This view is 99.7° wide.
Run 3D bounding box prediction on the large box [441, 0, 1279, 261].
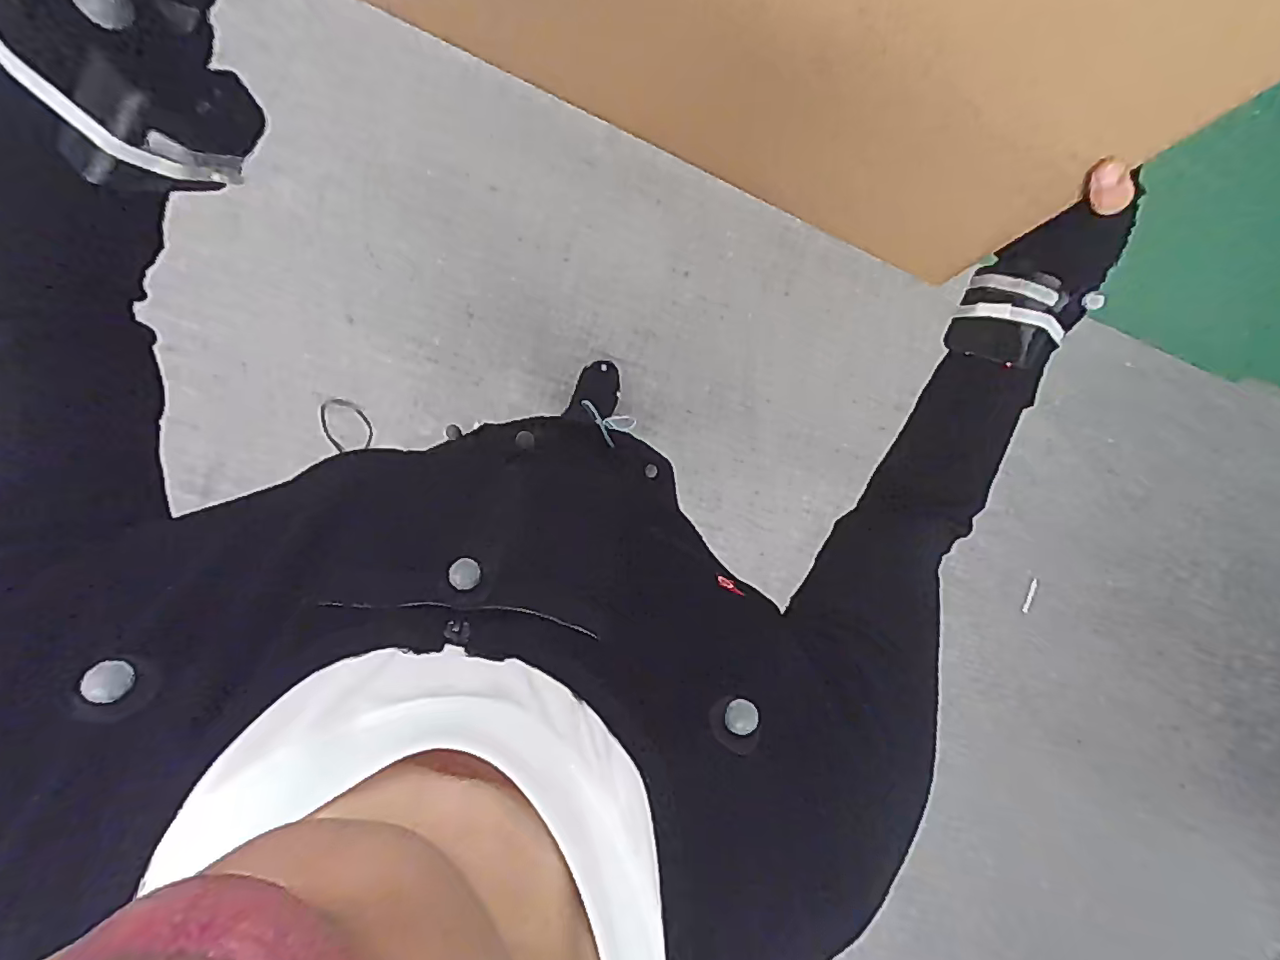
[{"bbox_3d":[0.126,-0.365,0.233,0.408,0.320,0.320,8,71,-30],"label":"large box"}]
